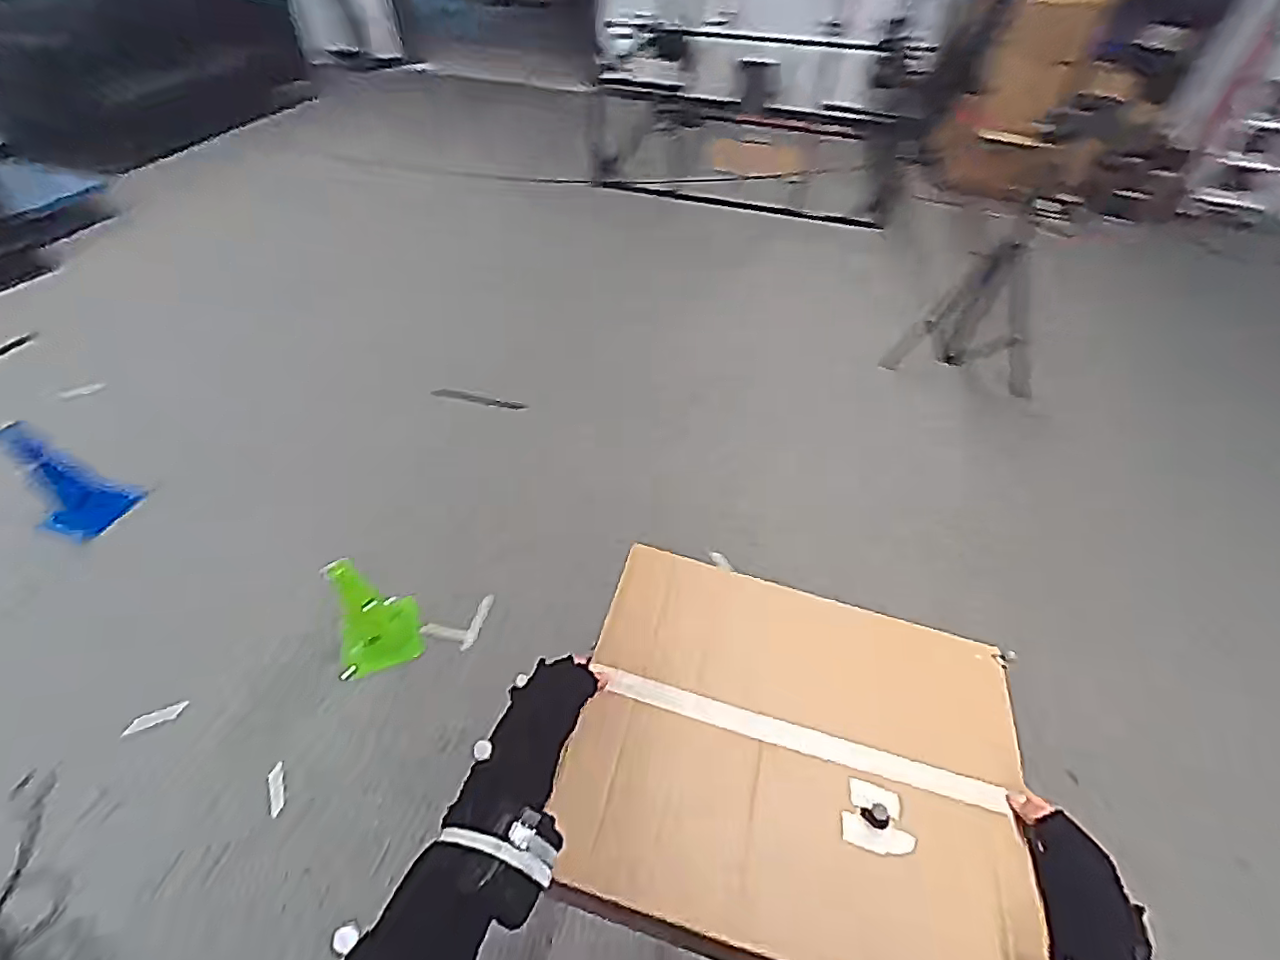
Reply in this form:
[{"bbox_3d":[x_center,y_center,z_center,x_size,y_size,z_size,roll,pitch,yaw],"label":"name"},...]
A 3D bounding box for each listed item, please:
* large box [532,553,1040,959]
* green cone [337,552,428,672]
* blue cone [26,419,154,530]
[{"bbox_3d":[0.121,0.334,0.610,0.408,0.320,0.320,15,50,4],"label":"large box"},{"bbox_3d":[-0.708,0.315,1.420,0.200,0.368,0.202,-15,49,-18],"label":"green cone"},{"bbox_3d":[-1.754,-0.030,1.678,0.193,0.380,0.192,15,47,9],"label":"blue cone"}]
